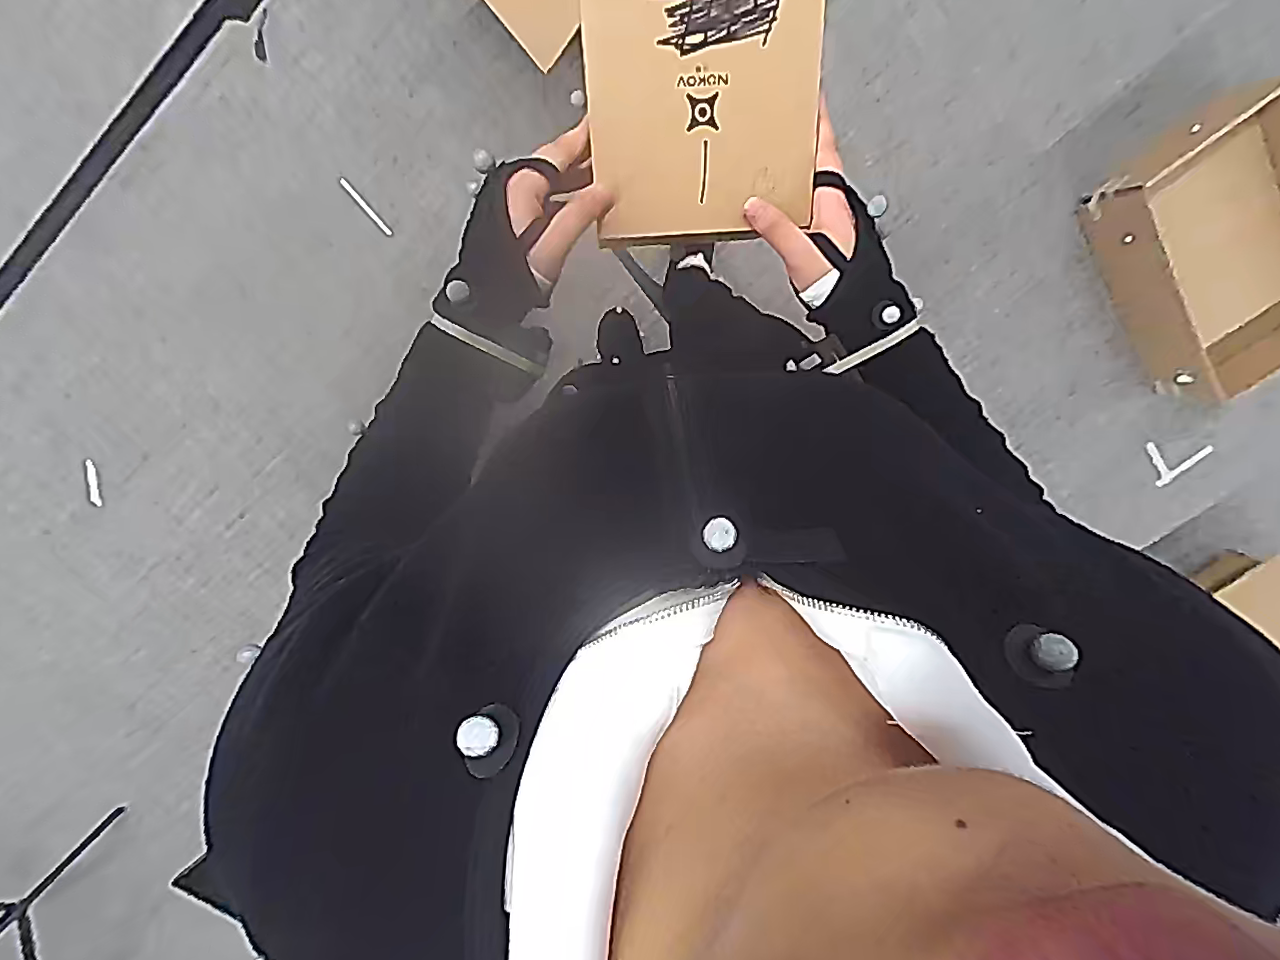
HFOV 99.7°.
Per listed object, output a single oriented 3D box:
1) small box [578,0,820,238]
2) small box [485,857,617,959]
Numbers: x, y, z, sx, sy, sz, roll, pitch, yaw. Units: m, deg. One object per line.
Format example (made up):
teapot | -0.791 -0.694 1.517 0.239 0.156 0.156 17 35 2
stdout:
small box | 0.036 -0.306 0.452 0.168 0.176 0.179 -4 112 -2
small box | -0.153 0.828 0.968 0.168 0.176 0.179 -40 106 11
